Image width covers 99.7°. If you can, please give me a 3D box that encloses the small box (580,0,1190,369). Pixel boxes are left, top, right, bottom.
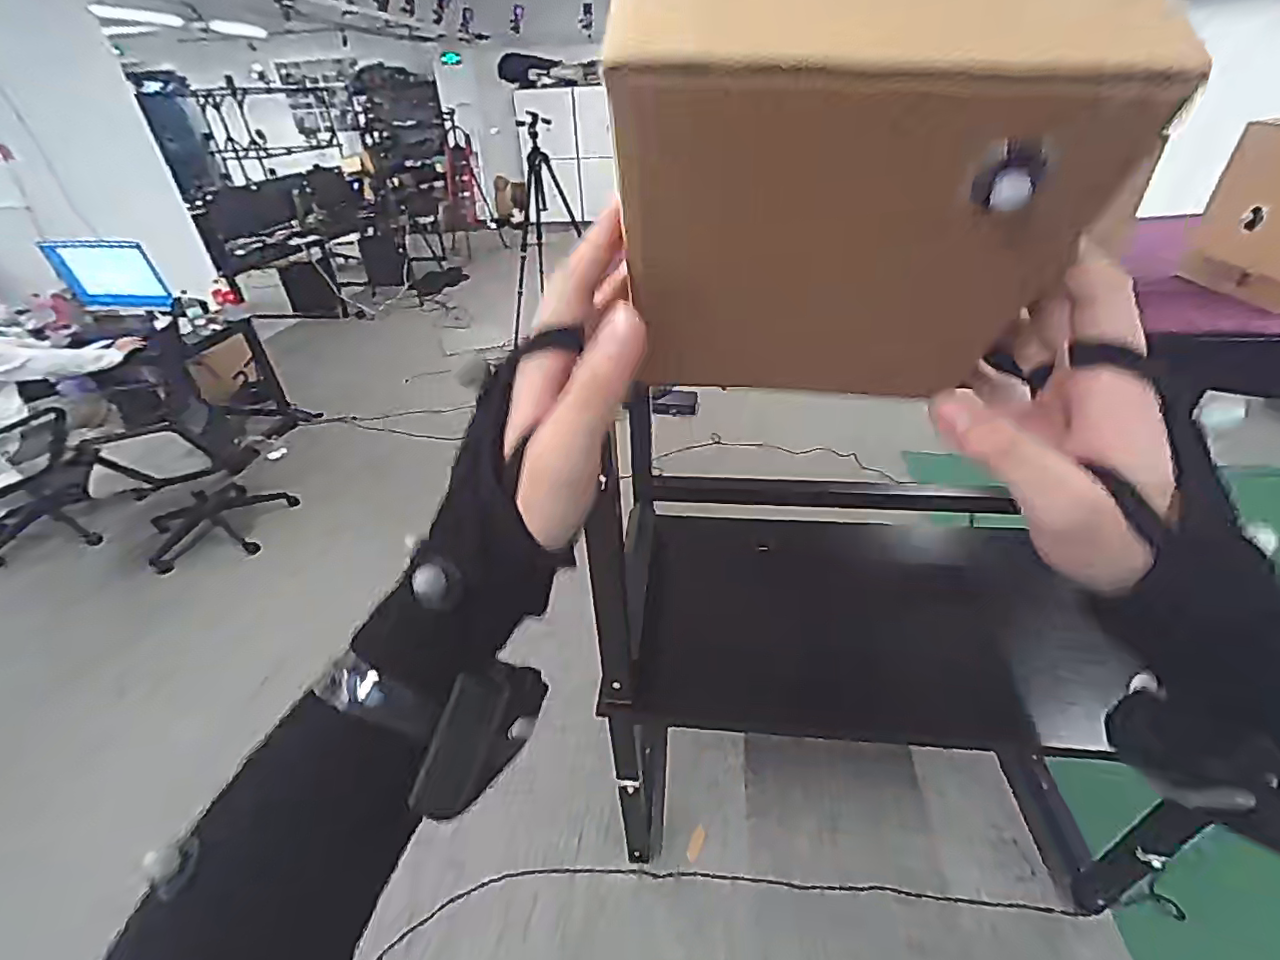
[{"bbox_3d":[0.080,-0.170,0.262,0.179,0.176,0.168,5,65,5],"label":"small box"}]

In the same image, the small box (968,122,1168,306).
[{"bbox_3d":[0.422,-0.303,0.619,0.179,0.176,0.168,3,34,10],"label":"small box"}]

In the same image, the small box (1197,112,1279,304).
[{"bbox_3d":[0.754,-0.287,0.565,0.179,0.176,0.168,1,36,7],"label":"small box"}]
